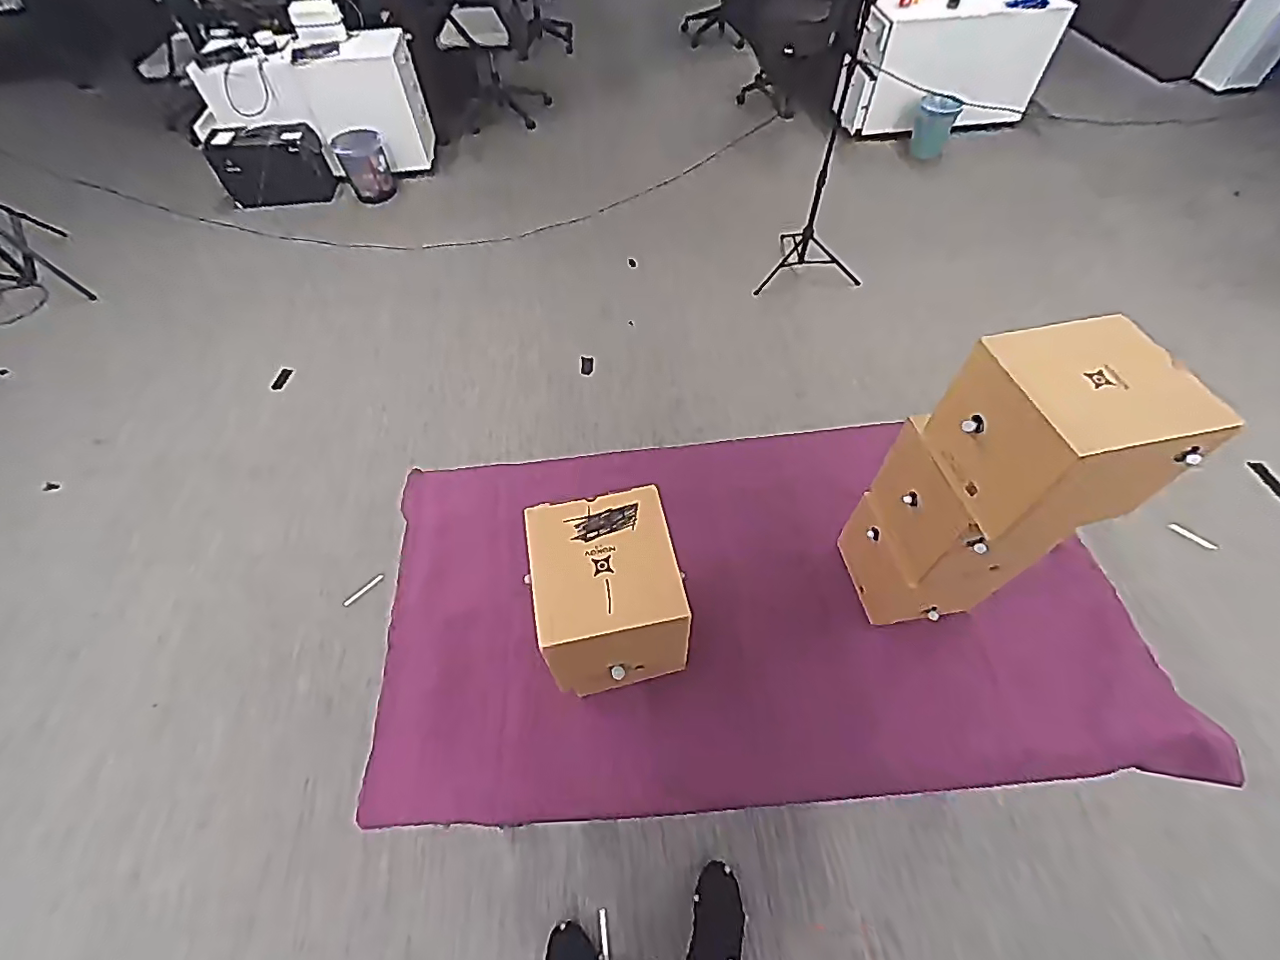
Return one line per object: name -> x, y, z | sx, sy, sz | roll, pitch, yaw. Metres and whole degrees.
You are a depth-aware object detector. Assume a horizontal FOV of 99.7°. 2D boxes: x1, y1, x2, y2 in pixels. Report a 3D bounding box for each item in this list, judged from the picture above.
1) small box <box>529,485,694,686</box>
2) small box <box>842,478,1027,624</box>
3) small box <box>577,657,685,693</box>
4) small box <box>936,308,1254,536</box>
small box -> -0.037, 0.133, 0.671 | 0.168, 0.176, 0.179 | -11, 56, -5
small box -> 0.455, 0.117, 0.869 | 0.179, 0.176, 0.168 | -8, 55, -4
small box -> -0.031, 0.206, 0.820 | 0.179, 0.176, 0.168 | -12, 56, -7
small box -> 0.459, -0.057, 0.590 | 0.179, 0.176, 0.168 | -11, 55, -6
